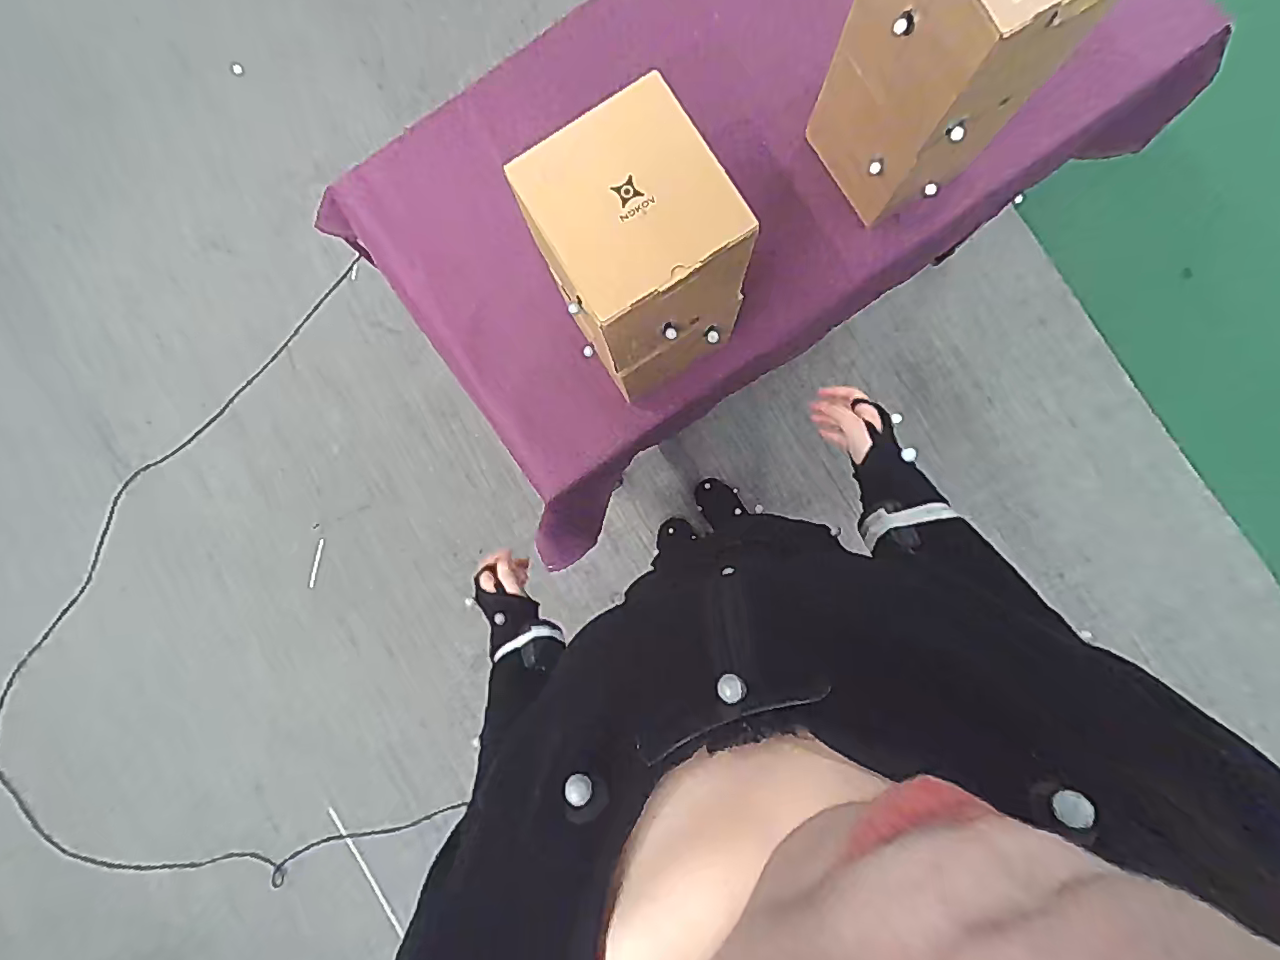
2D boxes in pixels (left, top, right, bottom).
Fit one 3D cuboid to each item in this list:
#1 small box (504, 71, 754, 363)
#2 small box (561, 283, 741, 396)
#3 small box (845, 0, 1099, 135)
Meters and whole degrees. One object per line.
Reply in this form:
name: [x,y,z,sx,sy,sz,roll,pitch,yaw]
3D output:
small box: [-0.008,-0.250,0.559,0.168,0.176,0.179,-32,86,1]
small box: [0.010,-0.235,0.721,0.179,0.176,0.168,-32,85,2]
small box: [0.340,-0.494,0.545,0.168,0.176,0.179,-30,85,2]
